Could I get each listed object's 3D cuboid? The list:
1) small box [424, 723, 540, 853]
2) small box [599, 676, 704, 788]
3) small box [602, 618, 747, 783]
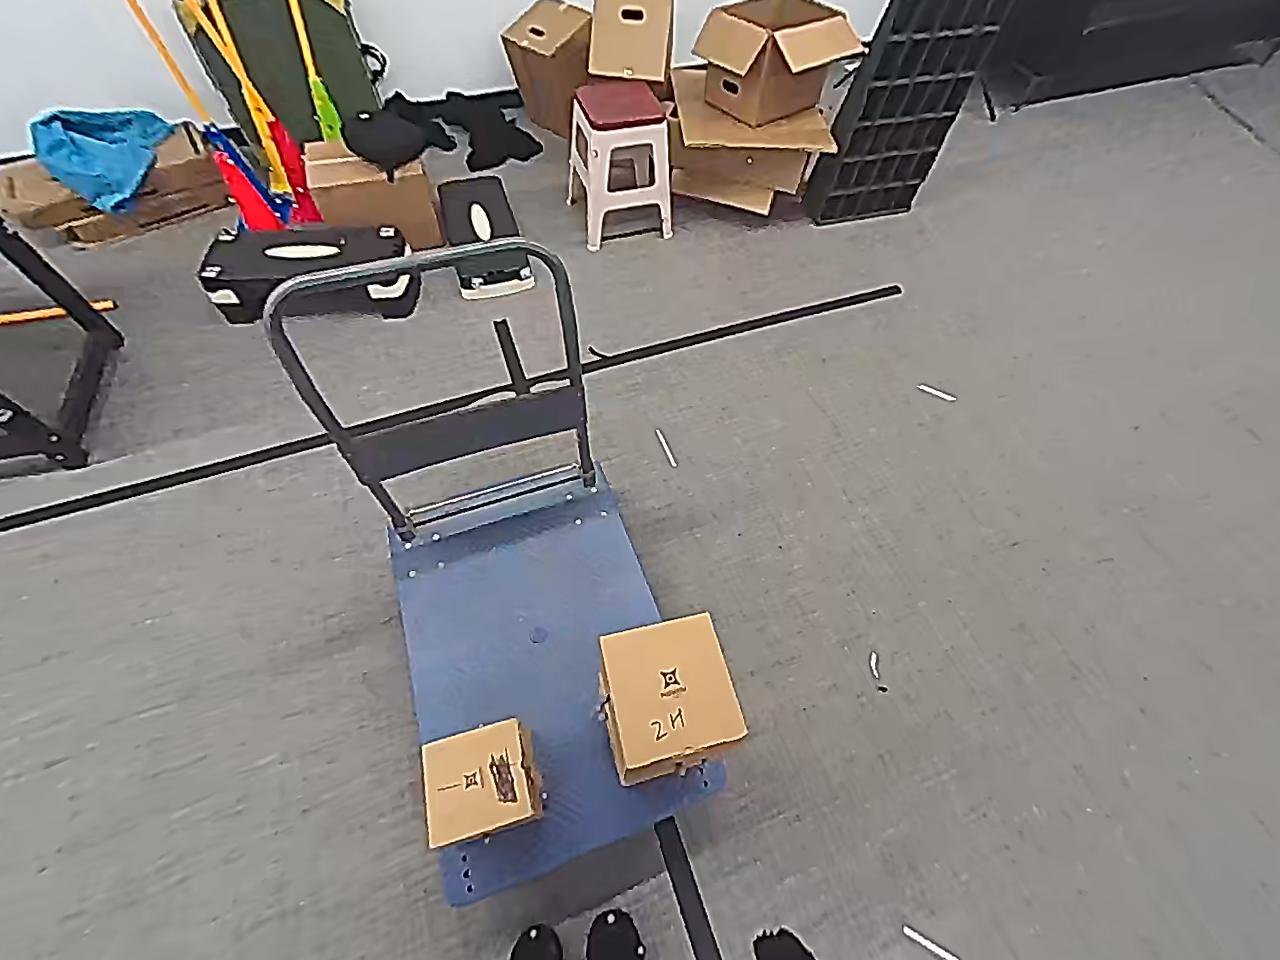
[{"bbox_3d":[-0.289,0.575,1.016,0.179,0.176,0.168,-13,59,-10],"label":"small box"},{"bbox_3d":[0.031,0.419,0.937,0.179,0.176,0.168,-11,59,-11],"label":"small box"},{"bbox_3d":[0.038,0.329,0.800,0.168,0.176,0.179,-10,59,-9],"label":"small box"}]
